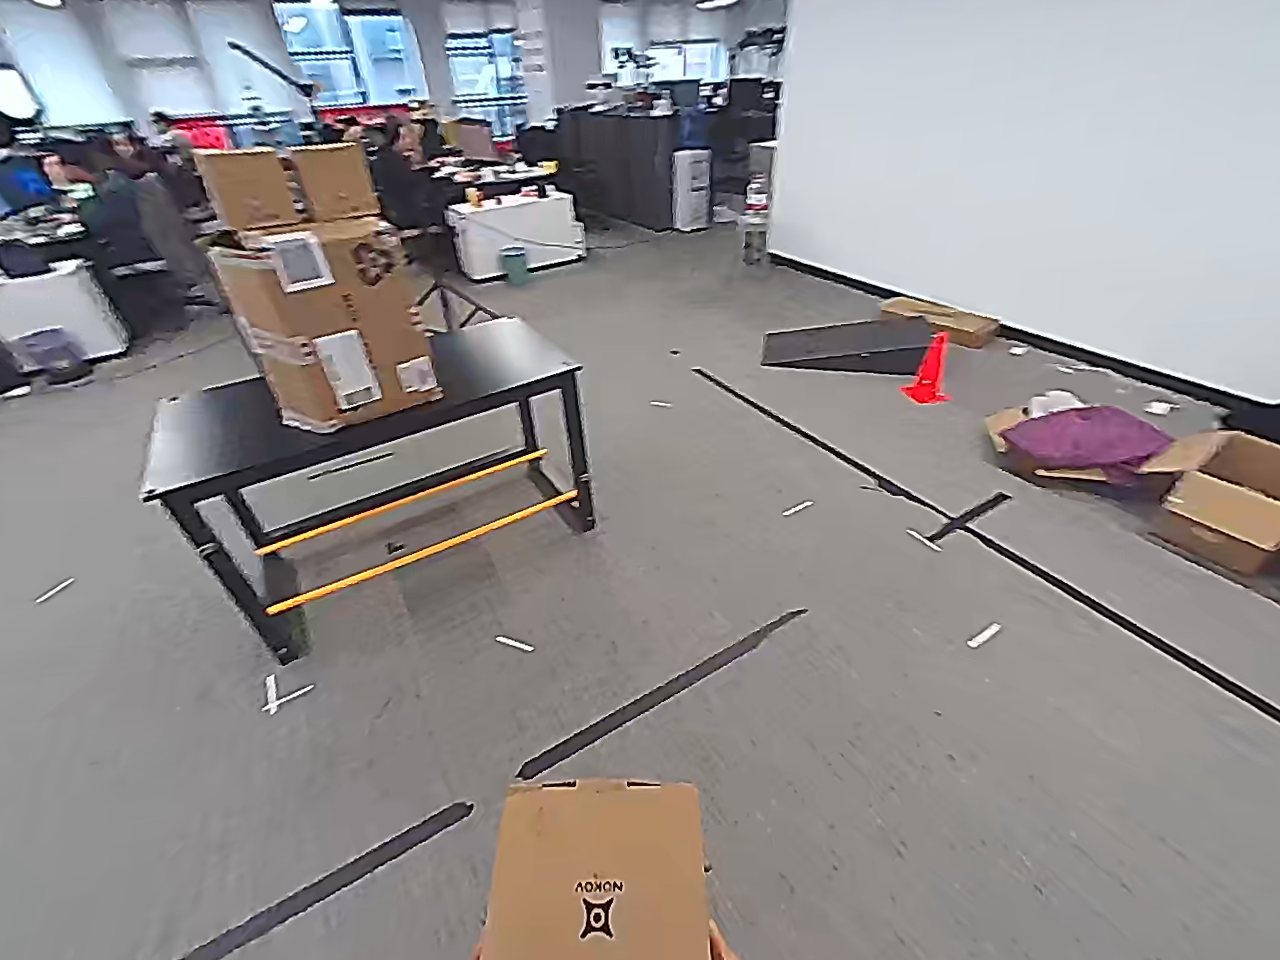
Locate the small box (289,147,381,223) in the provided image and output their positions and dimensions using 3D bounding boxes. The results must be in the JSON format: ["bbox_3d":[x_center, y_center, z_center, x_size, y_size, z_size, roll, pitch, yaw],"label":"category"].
[{"bbox_3d":[-0.845,-0.823,1.503,0.168,0.176,0.179,-24,40,-26],"label":"small box"}]

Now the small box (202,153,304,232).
[{"bbox_3d":[-1.009,-0.753,1.413,0.168,0.176,0.179,-24,40,-30],"label":"small box"}]

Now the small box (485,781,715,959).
[{"bbox_3d":[-0.031,0.379,0.457,0.168,0.176,0.179,0,43,-1],"label":"small box"}]
